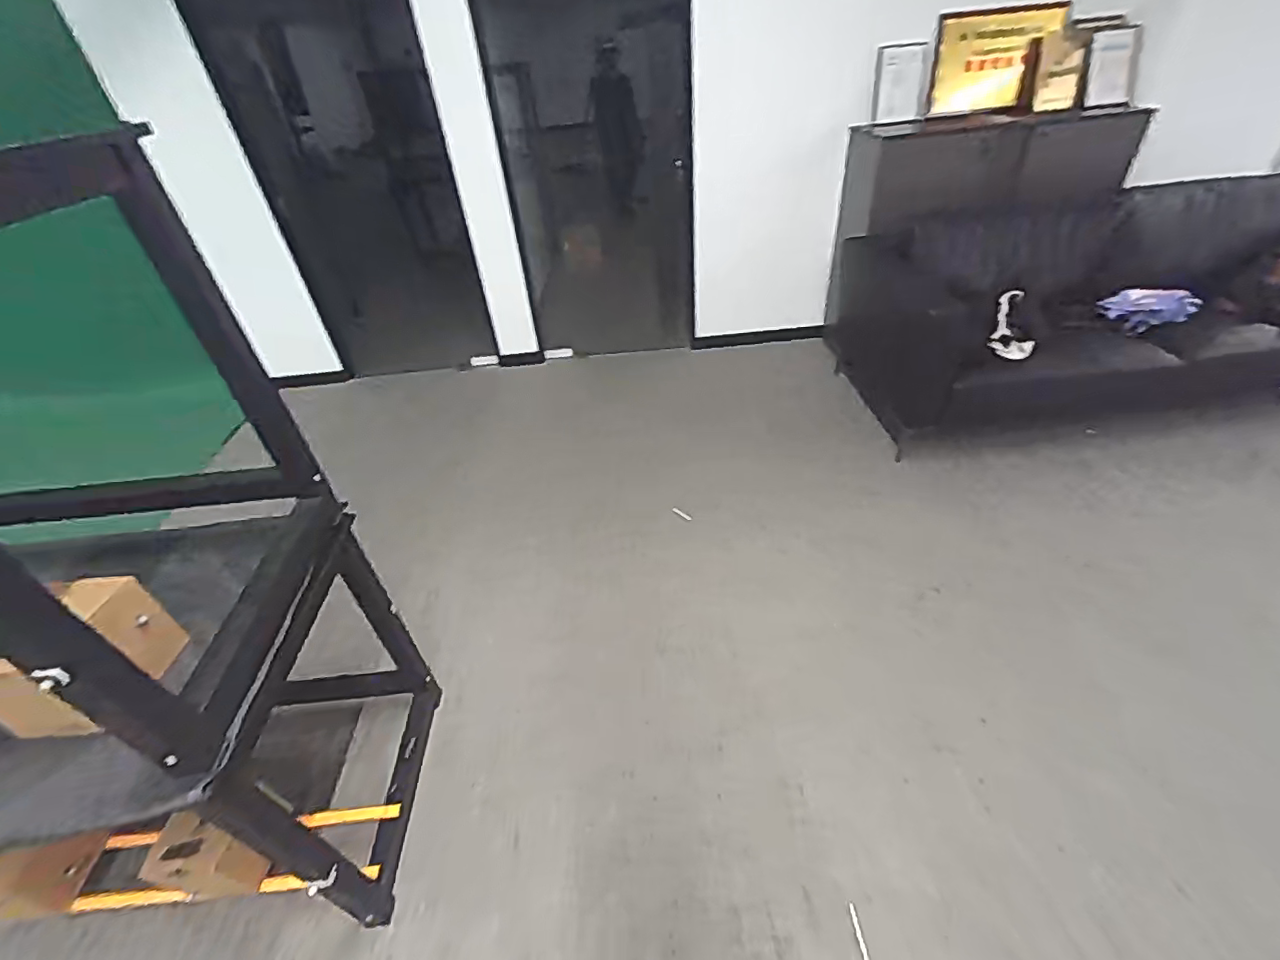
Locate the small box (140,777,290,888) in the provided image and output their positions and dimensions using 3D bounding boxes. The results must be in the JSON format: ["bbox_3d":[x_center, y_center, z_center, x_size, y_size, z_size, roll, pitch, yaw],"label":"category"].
[{"bbox_3d":[-0.930,0.791,1.208,0.168,0.176,0.179,-3,39,2],"label":"small box"}]
